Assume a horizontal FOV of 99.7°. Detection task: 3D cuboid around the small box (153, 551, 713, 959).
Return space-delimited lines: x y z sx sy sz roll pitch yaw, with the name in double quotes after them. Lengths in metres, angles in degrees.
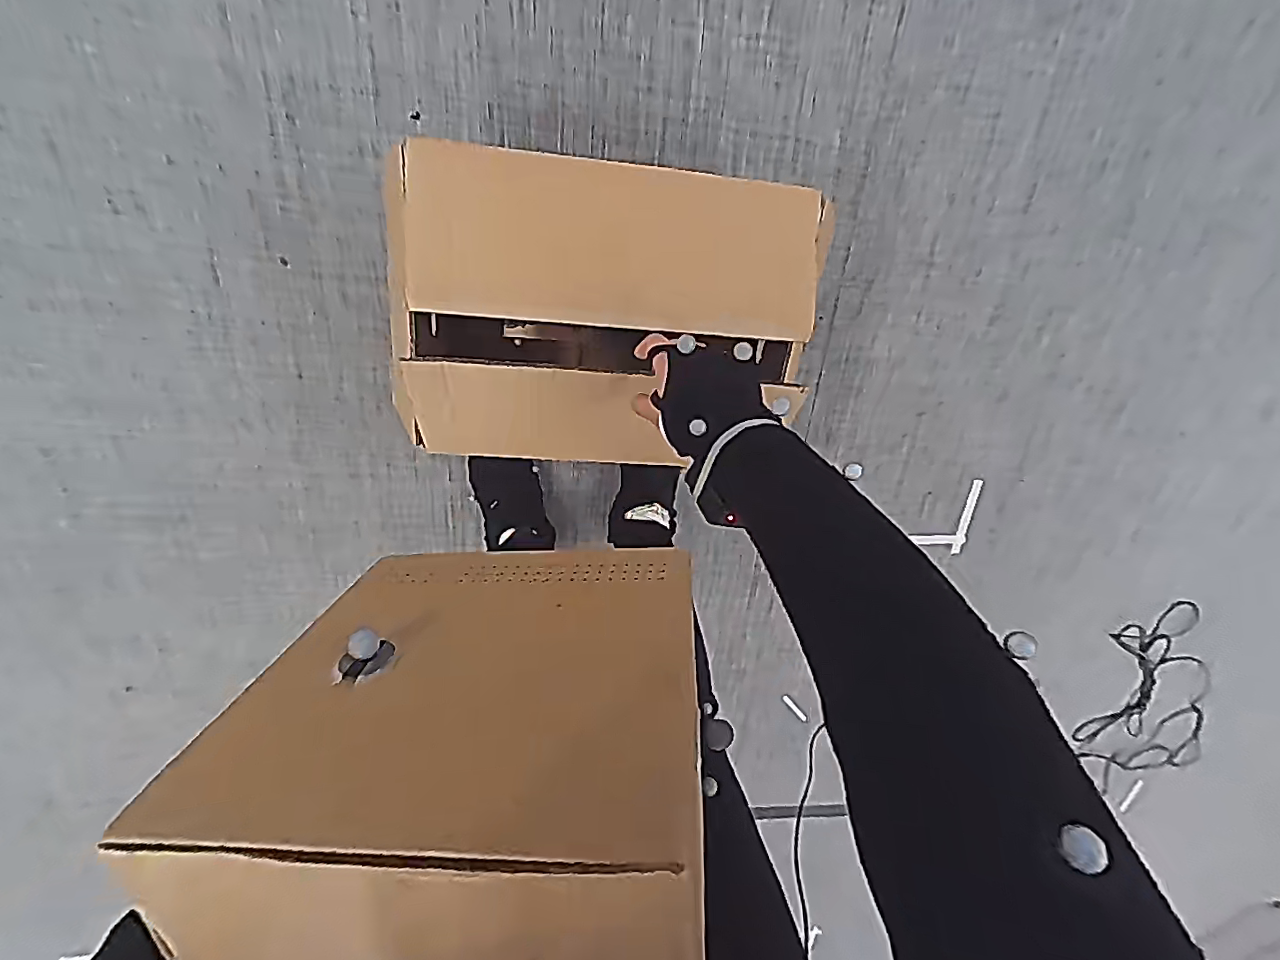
-0.056 0.147 0.264 0.179 0.176 0.168 -4 113 7 "small box"
